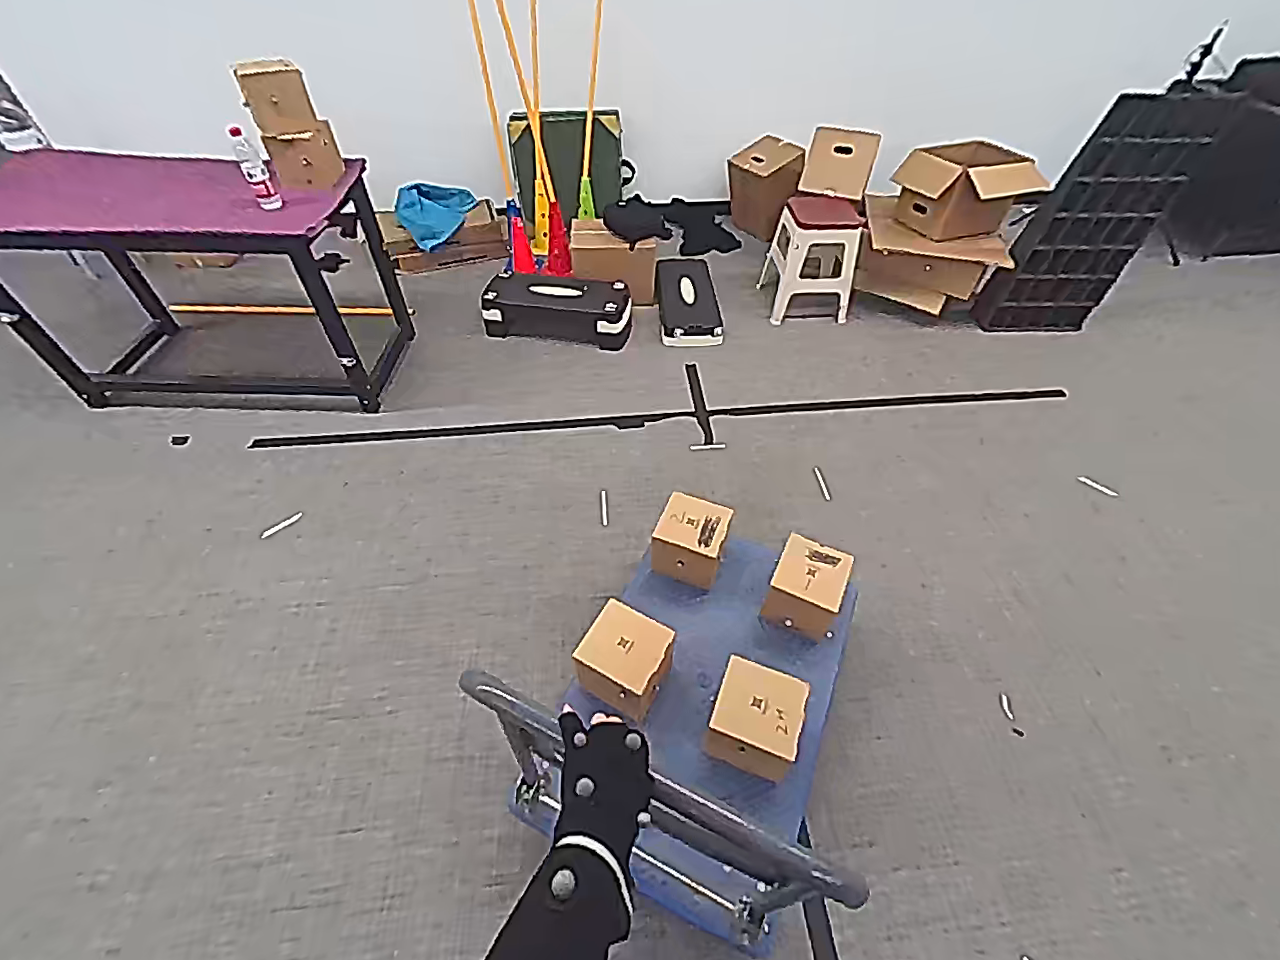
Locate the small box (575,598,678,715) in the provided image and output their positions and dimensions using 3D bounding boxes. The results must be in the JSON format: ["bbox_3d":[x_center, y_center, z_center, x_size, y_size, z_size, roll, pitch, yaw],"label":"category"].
[{"bbox_3d":[-0.032,0.412,1.252,0.179,0.176,0.168,24,52,17],"label":"small box"}]

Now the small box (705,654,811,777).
[{"bbox_3d":[0.248,0.512,1.168,0.179,0.176,0.168,18,51,14],"label":"small box"}]

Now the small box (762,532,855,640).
[{"bbox_3d":[0.425,0.272,1.381,0.168,0.176,0.179,22,53,18],"label":"small box"}]
